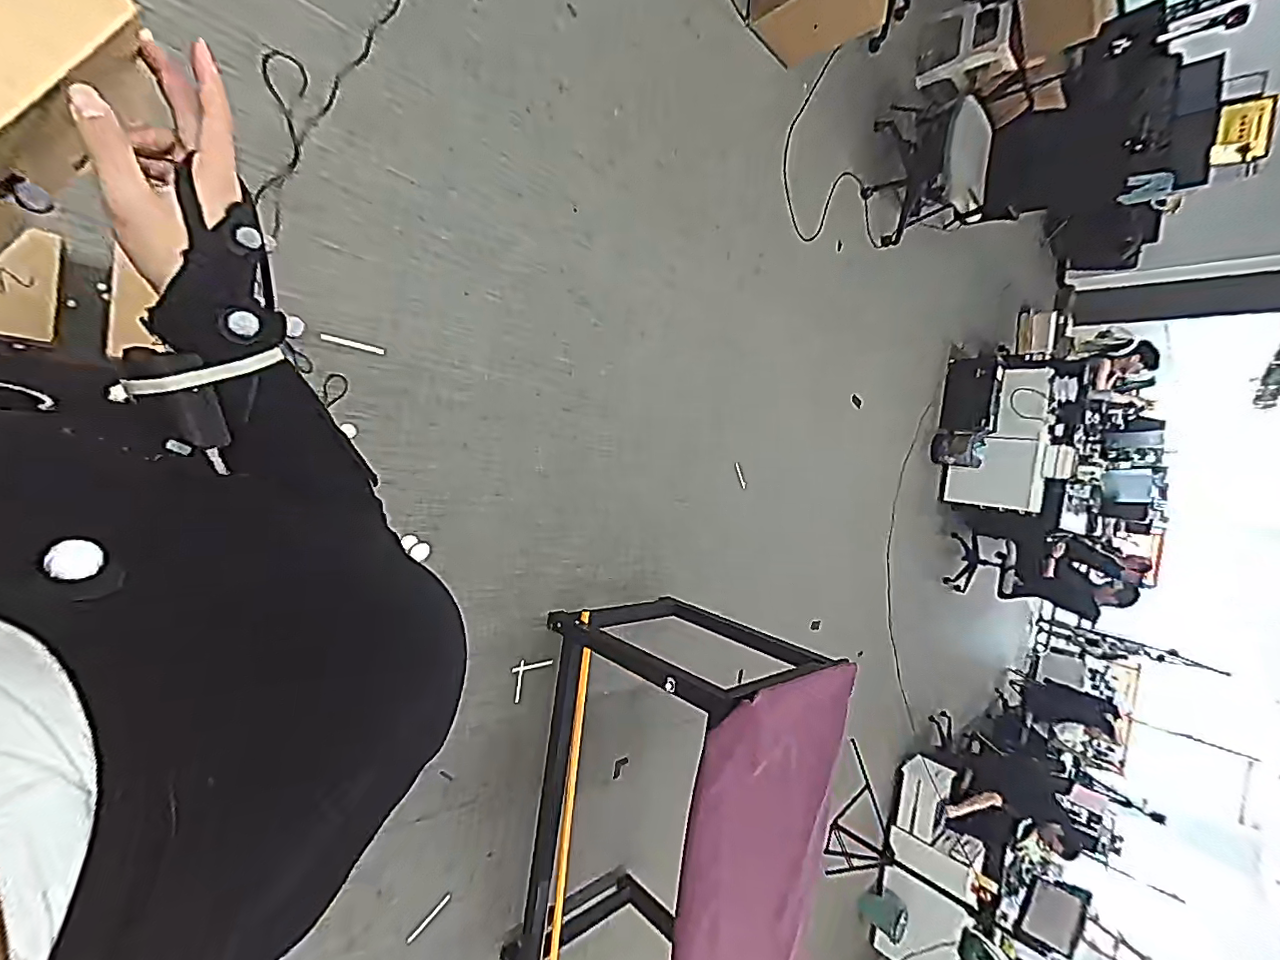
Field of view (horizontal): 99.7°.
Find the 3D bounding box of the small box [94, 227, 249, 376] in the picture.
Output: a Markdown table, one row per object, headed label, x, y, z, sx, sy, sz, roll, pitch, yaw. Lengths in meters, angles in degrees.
| label | x | y | z | sx | sy | sz | roll | pitch | yaw |
| --- | --- | --- | --- | --- | --- | --- | --- | --- | --- |
| small box | -0.742 | -0.266 | 0.855 | 0.168 | 0.176 | 0.179 | 5 | 94 | -44 |
